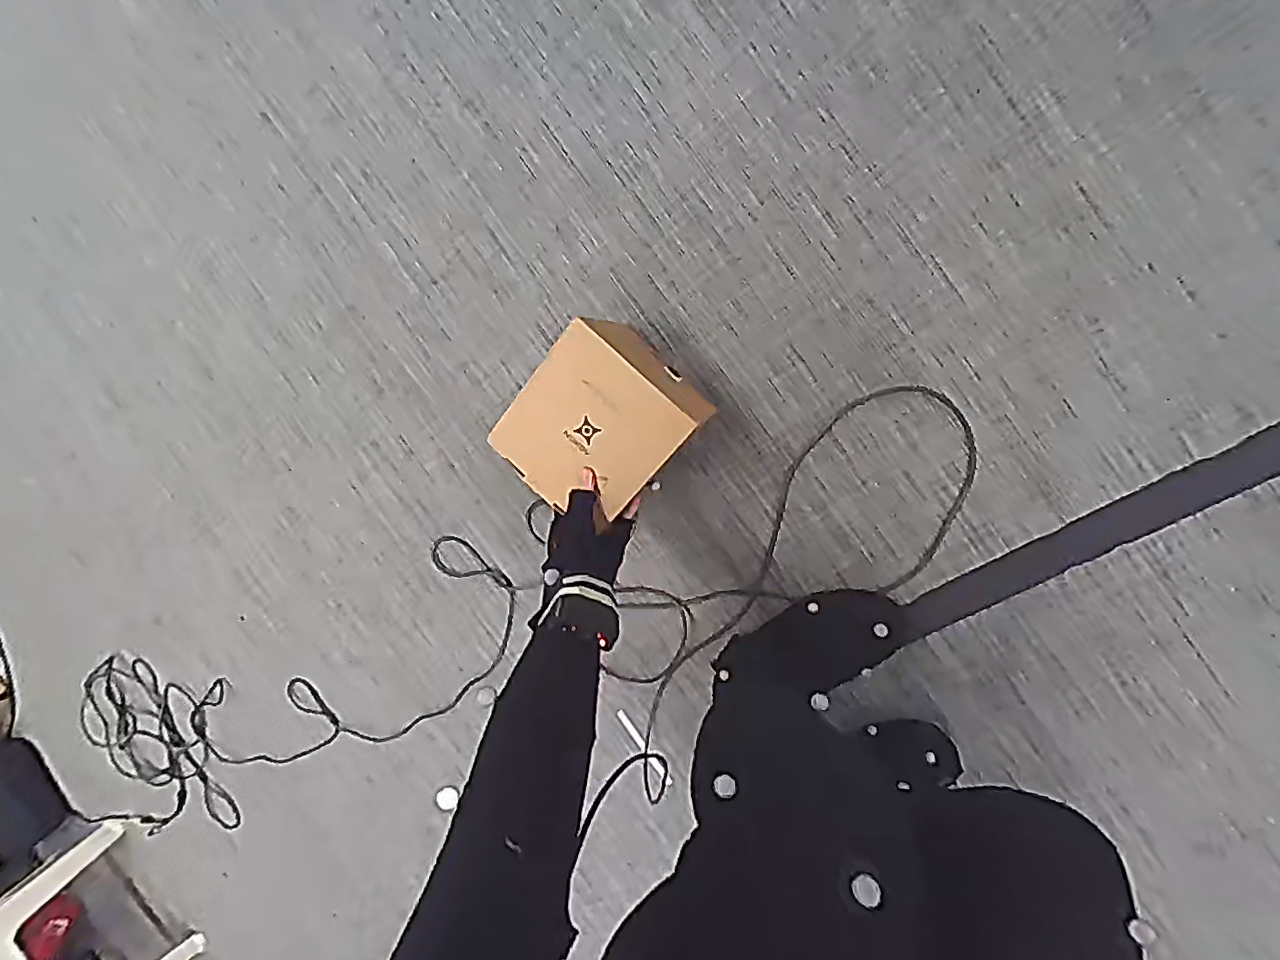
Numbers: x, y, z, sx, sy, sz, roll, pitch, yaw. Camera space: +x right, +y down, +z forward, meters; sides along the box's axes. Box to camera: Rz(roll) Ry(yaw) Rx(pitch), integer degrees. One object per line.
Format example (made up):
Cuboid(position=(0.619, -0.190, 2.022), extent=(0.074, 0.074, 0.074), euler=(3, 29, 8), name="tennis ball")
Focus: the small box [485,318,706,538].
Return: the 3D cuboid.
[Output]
Cuboid(position=(-0.040, -0.066, 0.640), extent=(0.168, 0.176, 0.179), euler=(41, 109, 2), name="small box")
